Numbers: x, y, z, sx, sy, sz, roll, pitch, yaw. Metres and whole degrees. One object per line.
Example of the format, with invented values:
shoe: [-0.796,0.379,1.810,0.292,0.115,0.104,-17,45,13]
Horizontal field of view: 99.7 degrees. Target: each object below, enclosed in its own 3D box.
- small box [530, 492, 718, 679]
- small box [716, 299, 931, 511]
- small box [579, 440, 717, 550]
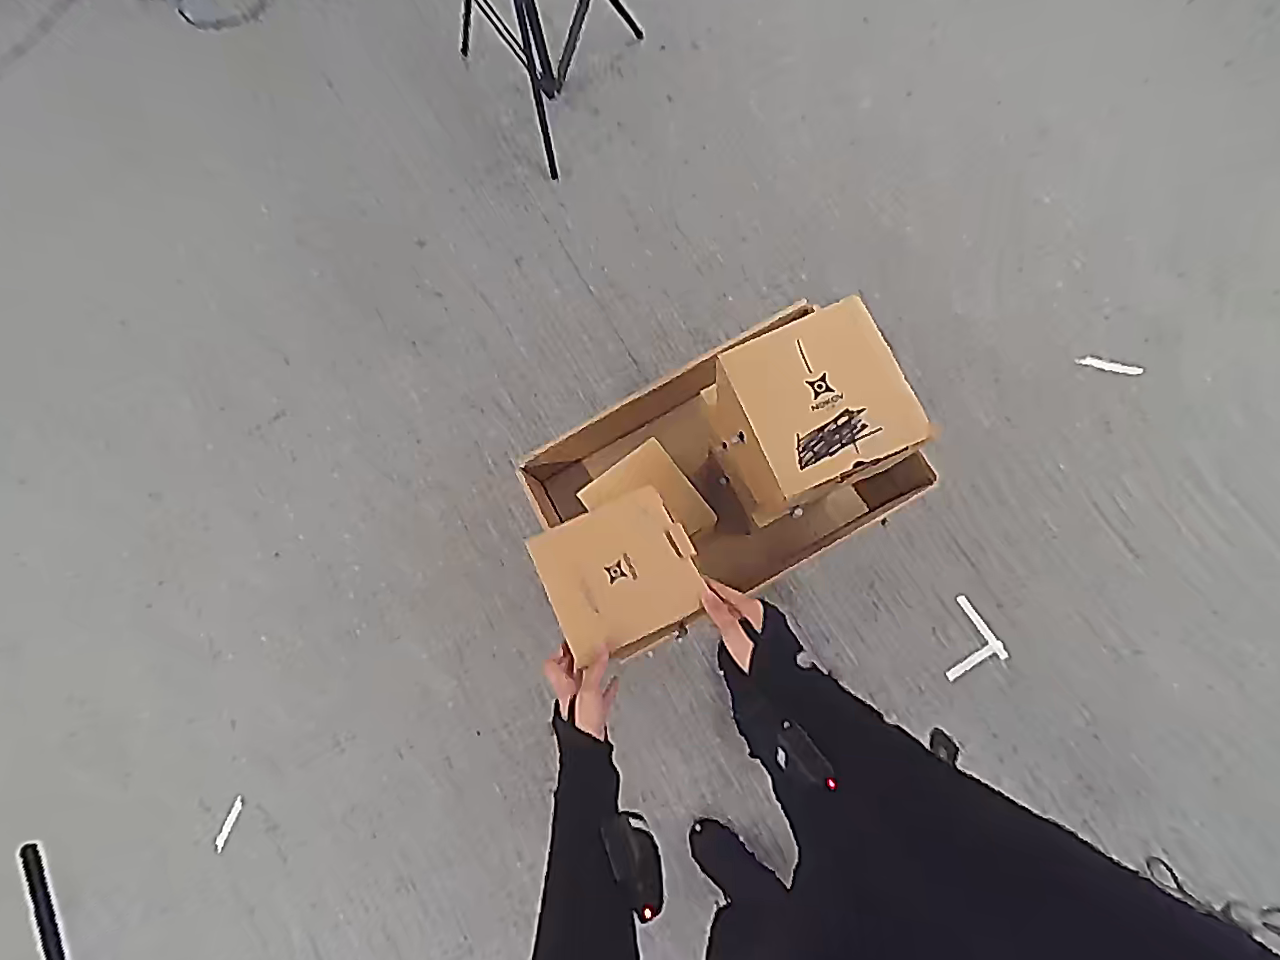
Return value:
small box: [-0.022,0.143,0.703,0.179,0.176,0.168,-24,71,-8]
small box: [0.200,-0.072,0.640,0.168,0.176,0.179,-23,77,3]
small box: [0.017,0.062,0.967,0.168,0.176,0.179,-37,78,-4]
